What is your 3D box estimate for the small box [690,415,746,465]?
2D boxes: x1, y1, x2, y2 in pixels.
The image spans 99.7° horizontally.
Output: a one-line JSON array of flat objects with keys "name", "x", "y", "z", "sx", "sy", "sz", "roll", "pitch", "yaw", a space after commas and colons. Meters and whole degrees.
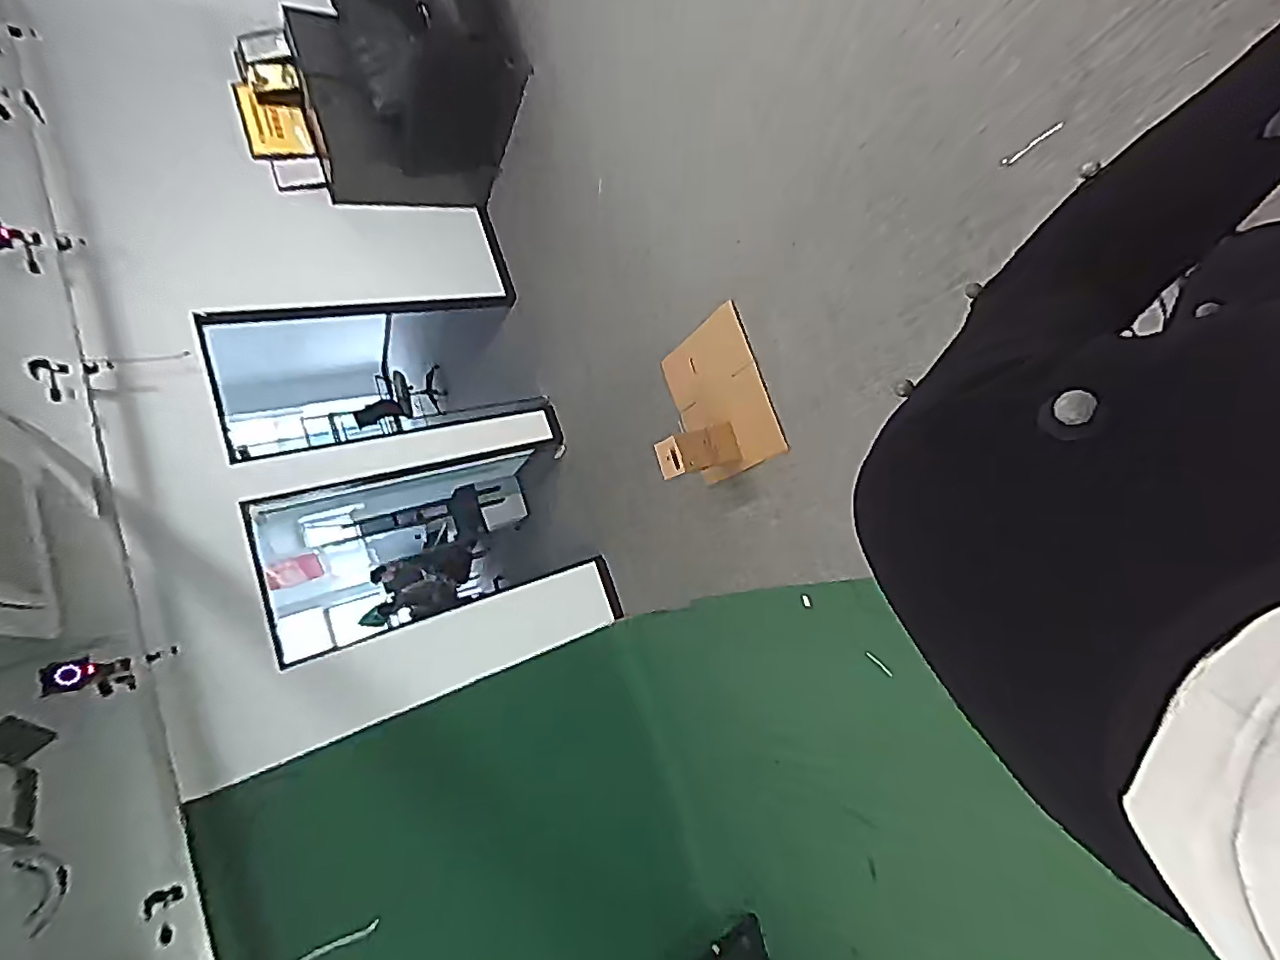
[{"name": "small box", "x": 0.364, "y": -0.185, "z": 2.486, "sx": 0.168, "sy": 0.176, "sz": 0.179, "roll": -21, "pitch": 84, "yaw": 60}]
